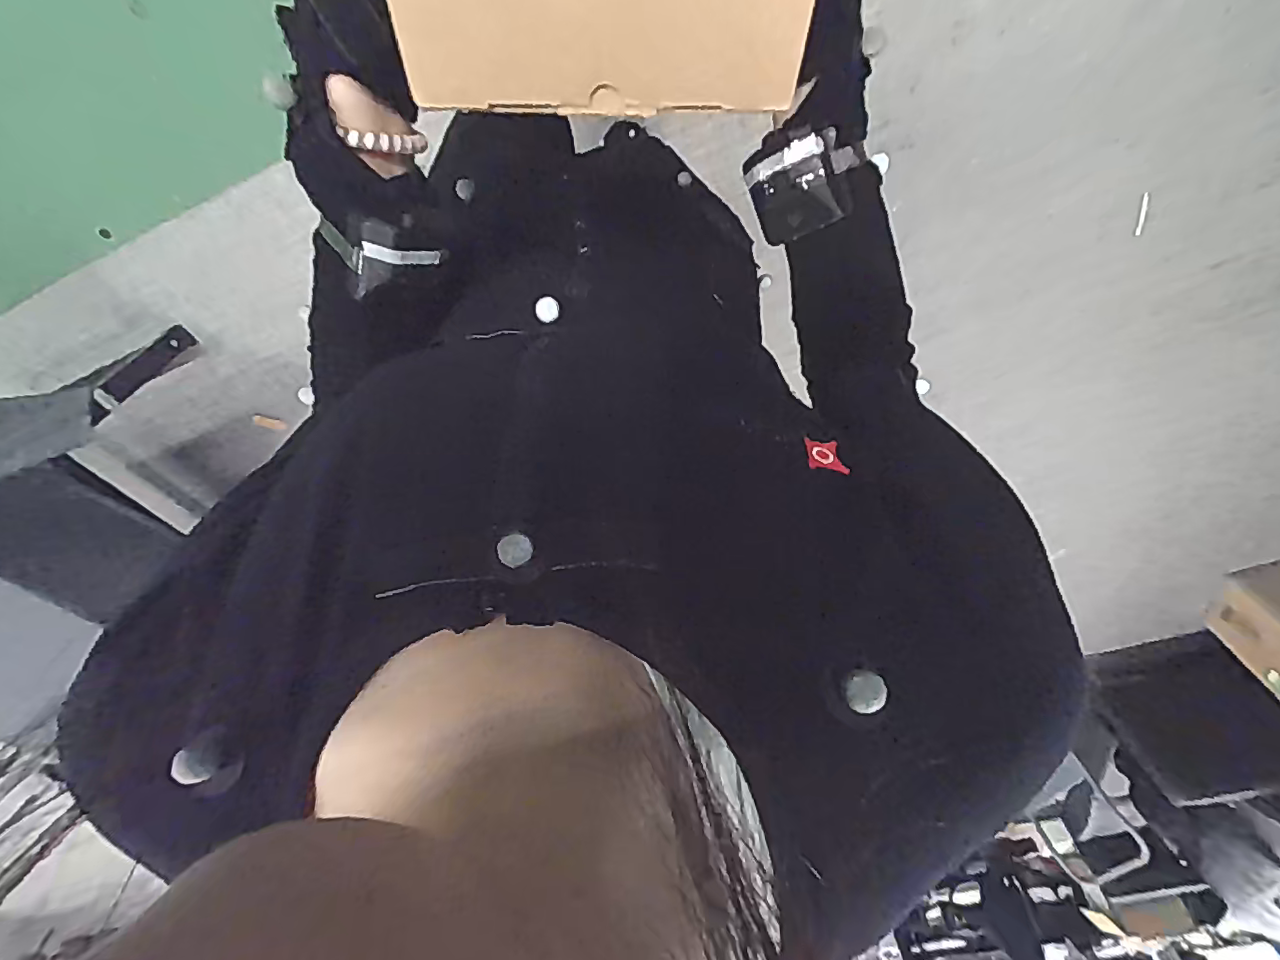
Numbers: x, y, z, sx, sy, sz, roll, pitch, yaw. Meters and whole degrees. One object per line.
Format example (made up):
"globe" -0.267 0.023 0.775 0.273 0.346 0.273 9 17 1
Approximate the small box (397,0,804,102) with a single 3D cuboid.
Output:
"small box" -0.018 -0.287 0.222 0.168 0.176 0.179 -1 145 -2
